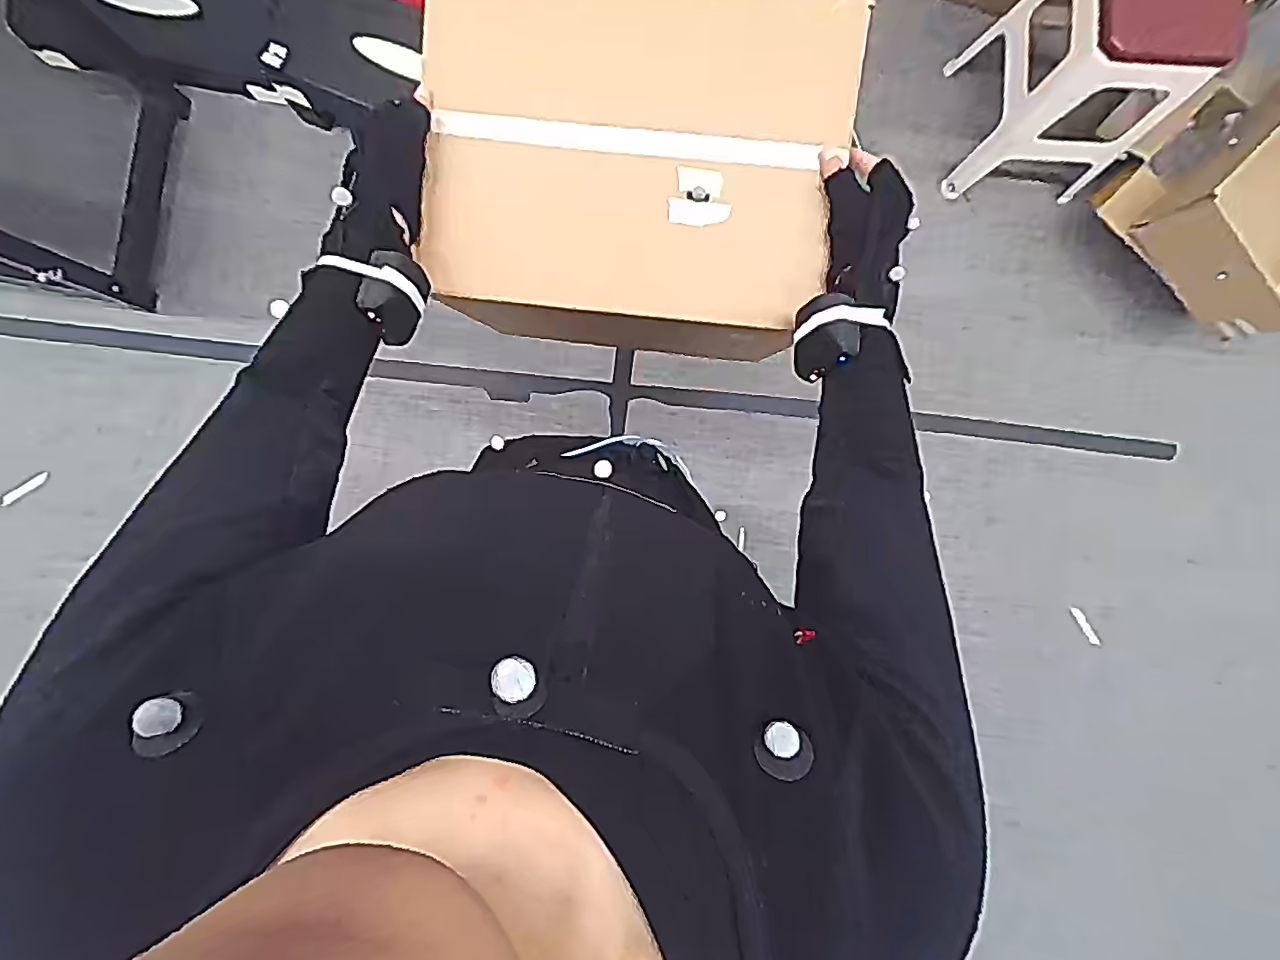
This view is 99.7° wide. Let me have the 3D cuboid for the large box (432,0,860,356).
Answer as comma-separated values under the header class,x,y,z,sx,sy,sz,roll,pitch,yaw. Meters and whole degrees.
class,x,y,z,sx,sy,sz,roll,pitch,yaw
large box,-0.001,-0.340,0.673,0.408,0.320,0.320,6,98,0
